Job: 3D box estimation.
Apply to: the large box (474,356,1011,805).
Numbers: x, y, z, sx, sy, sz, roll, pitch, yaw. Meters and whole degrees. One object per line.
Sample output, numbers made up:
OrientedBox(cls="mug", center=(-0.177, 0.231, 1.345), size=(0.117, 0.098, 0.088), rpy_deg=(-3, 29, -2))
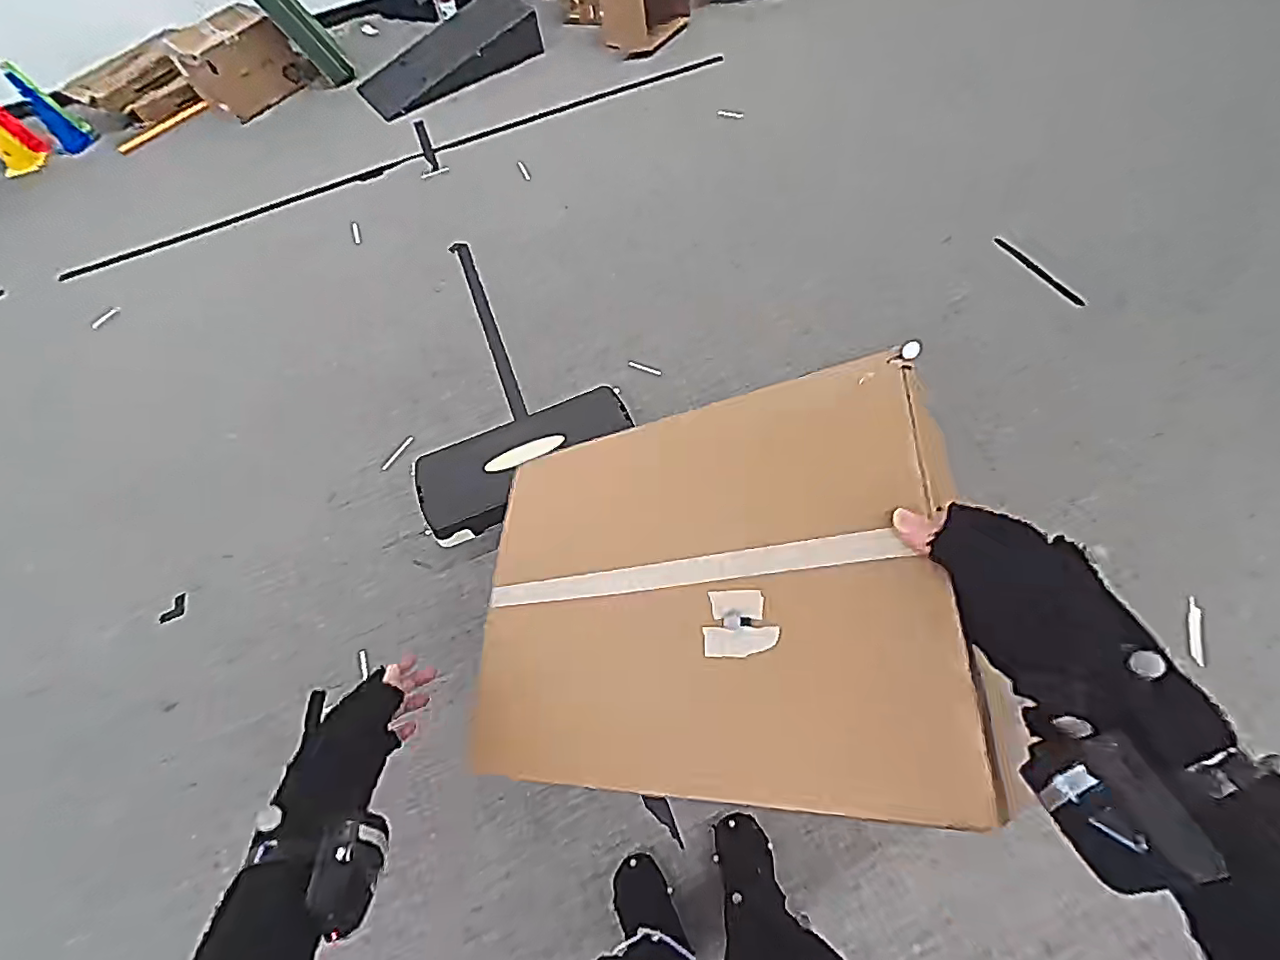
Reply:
OrientedBox(cls="large box", center=(0.106, 0.140, 0.557), size=(0.408, 0.320, 0.320), rpy_deg=(-13, 59, 29))
